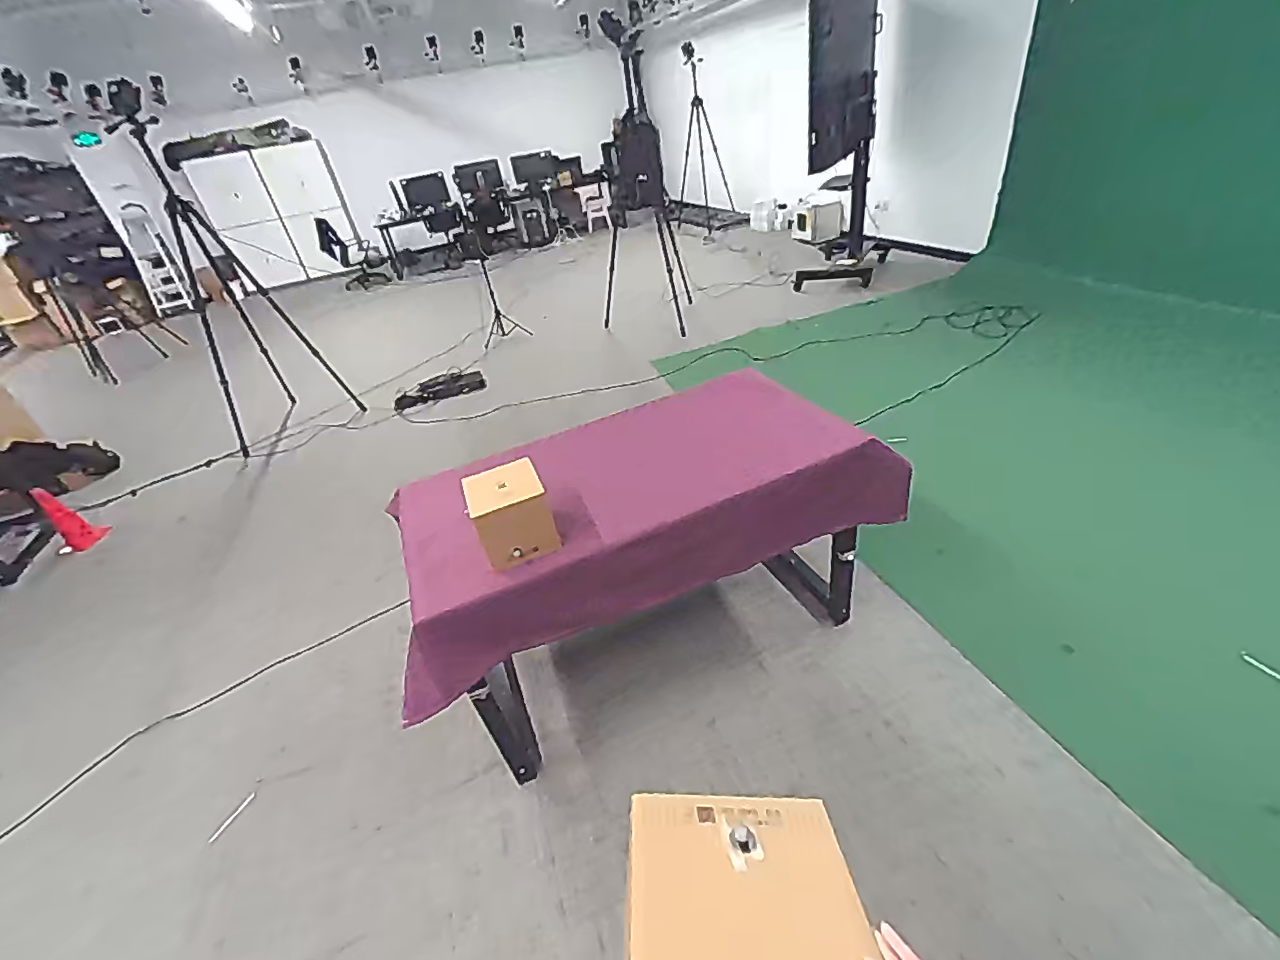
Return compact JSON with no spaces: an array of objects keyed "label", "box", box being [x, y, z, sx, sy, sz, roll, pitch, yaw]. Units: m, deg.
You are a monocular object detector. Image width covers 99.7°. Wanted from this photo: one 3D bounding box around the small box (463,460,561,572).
[{"label":"small box","box":[-0.298,0.083,1.263,0.168,0.176,0.179,-21,36,-13]}]
